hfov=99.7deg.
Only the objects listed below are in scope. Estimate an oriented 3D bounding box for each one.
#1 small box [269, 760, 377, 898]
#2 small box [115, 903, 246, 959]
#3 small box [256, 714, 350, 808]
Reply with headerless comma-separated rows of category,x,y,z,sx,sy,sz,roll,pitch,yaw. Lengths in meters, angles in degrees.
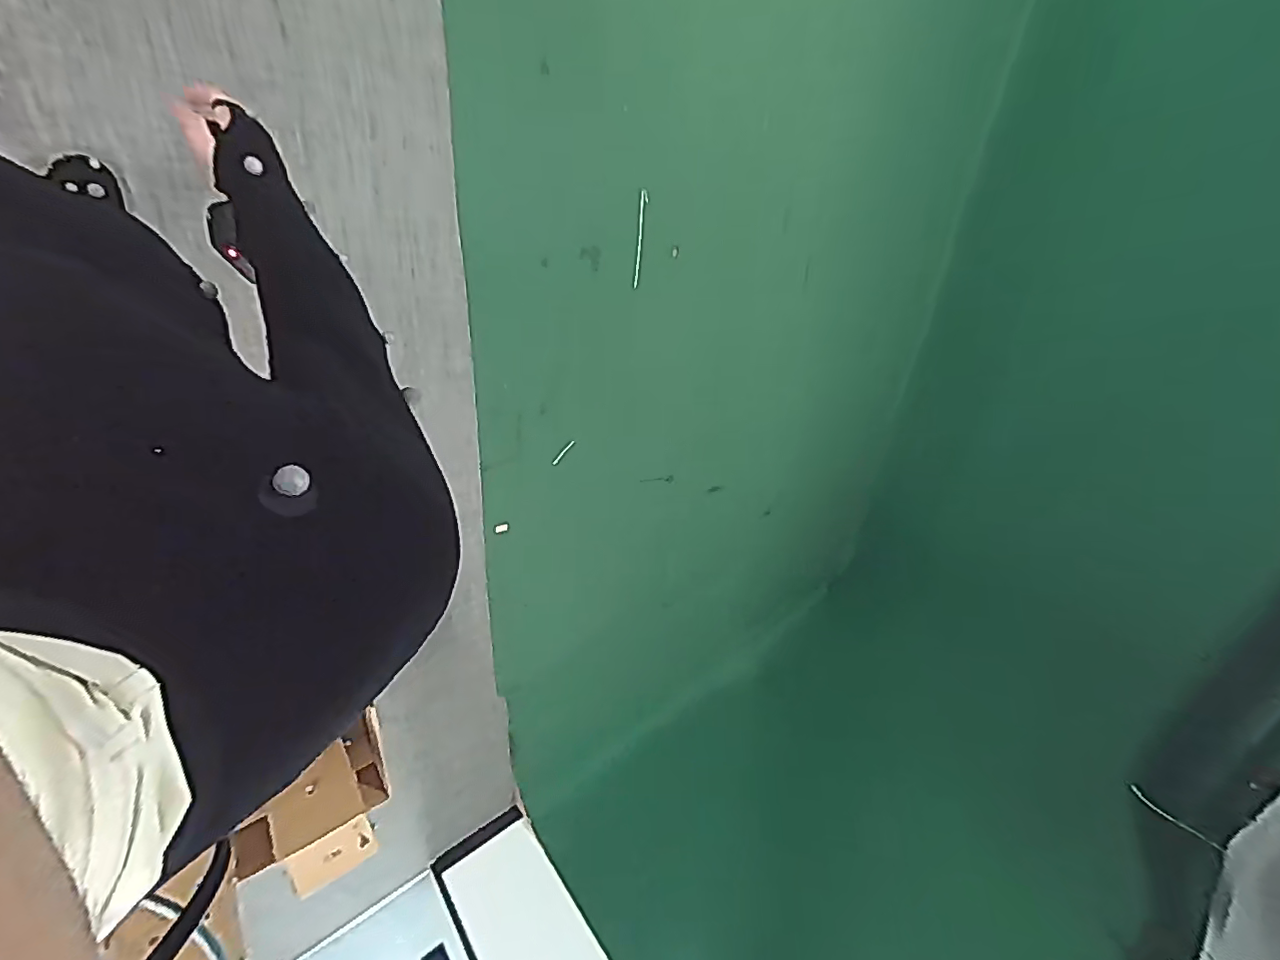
small box,-0.743,0.806,1.264,0.179,0.176,0.168,-19,127,-34
small box,-0.847,0.943,1.005,0.168,0.176,0.179,-17,127,-35
small box,-0.844,0.736,1.374,0.179,0.176,0.168,-17,126,-34
